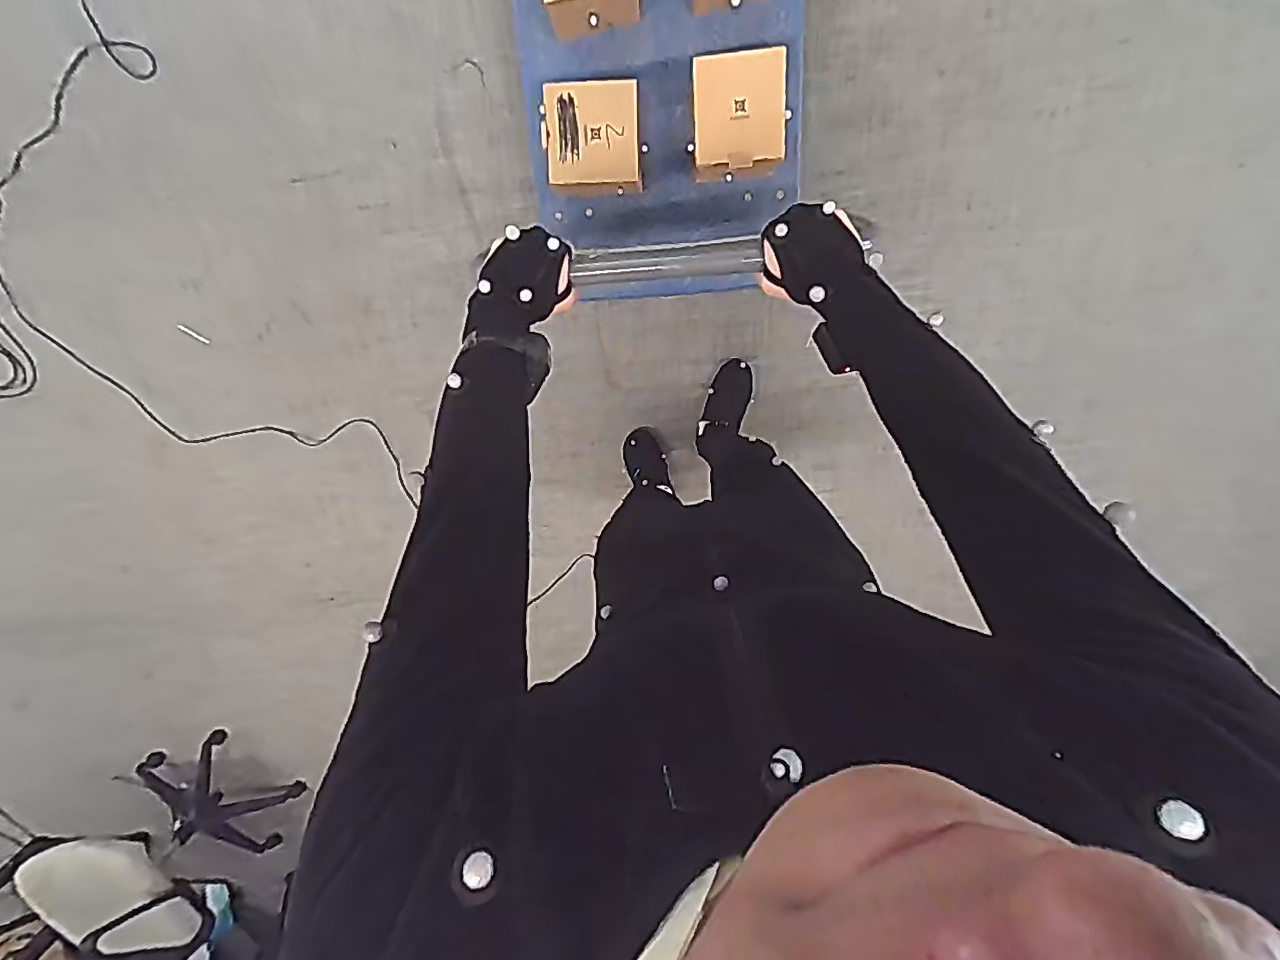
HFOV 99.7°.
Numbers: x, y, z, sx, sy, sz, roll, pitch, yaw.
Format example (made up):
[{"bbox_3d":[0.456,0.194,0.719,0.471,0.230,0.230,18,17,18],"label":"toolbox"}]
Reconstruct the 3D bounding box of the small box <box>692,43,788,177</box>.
[{"bbox_3d":[0.190,-0.711,1.057,0.168,0.176,0.179,-3,111,5],"label":"small box"}]

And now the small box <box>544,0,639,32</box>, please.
[{"bbox_3d":[-0.098,-0.956,0.981,0.168,0.176,0.179,-9,110,6],"label":"small box"}]

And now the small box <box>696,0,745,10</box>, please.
[{"bbox_3d":[0.168,-0.986,0.952,0.168,0.176,0.179,-8,111,8],"label":"small box"}]
